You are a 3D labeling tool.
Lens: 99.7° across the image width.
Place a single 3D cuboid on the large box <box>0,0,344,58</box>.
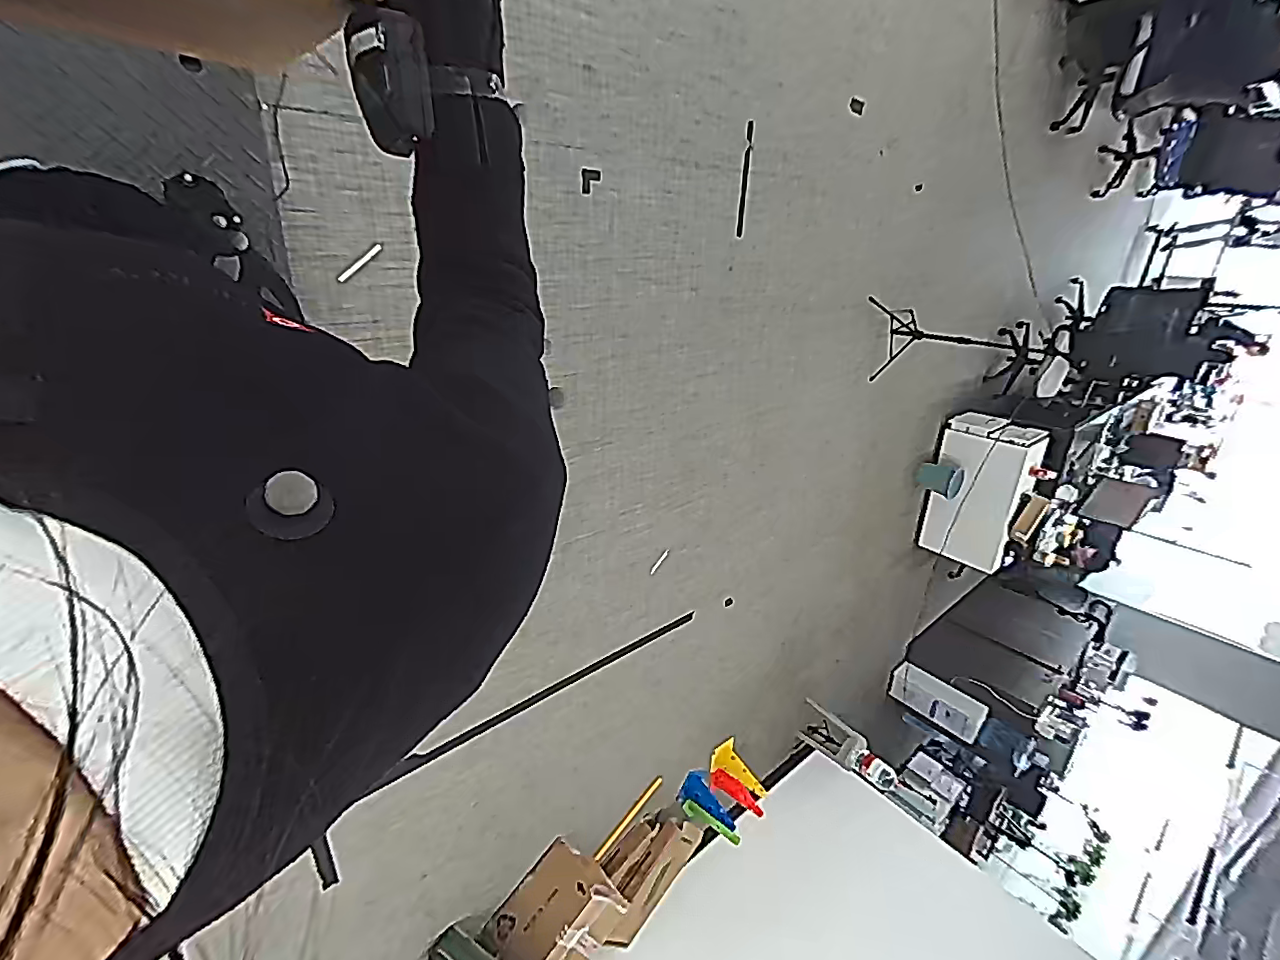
[{"bbox_3d":[-0.387,-0.423,0.221,0.408,0.320,0.320,-17,125,-38],"label":"large box"}]
